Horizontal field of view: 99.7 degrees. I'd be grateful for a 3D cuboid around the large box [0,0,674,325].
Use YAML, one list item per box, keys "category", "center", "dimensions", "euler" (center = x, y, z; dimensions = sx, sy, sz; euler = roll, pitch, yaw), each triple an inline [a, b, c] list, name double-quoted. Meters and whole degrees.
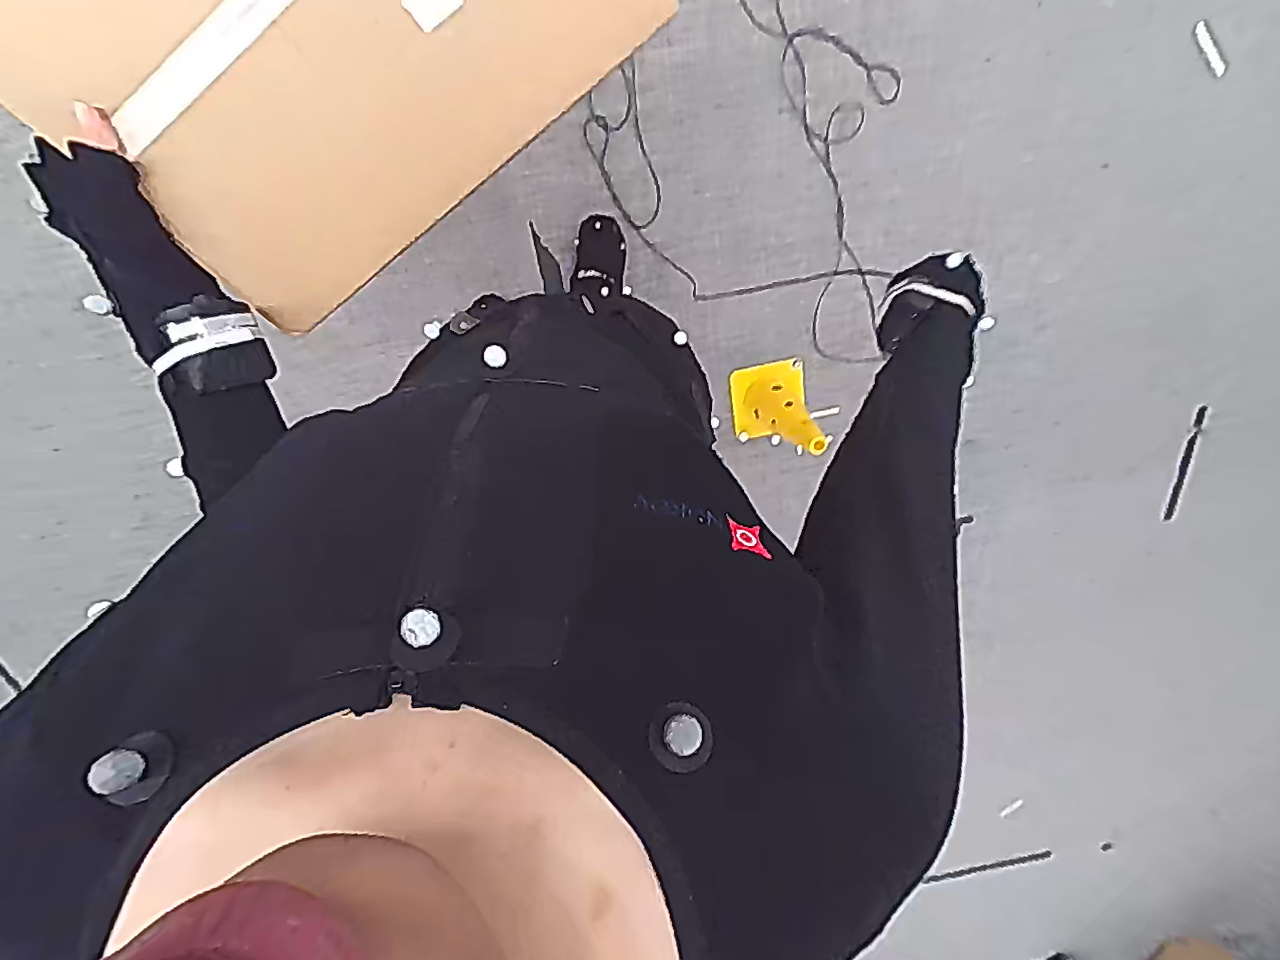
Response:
- category: "large box"
  center: [-0.246, -0.416, 0.467]
  dimensions: [0.408, 0.320, 0.320]
  euler: [-35, 126, 9]
